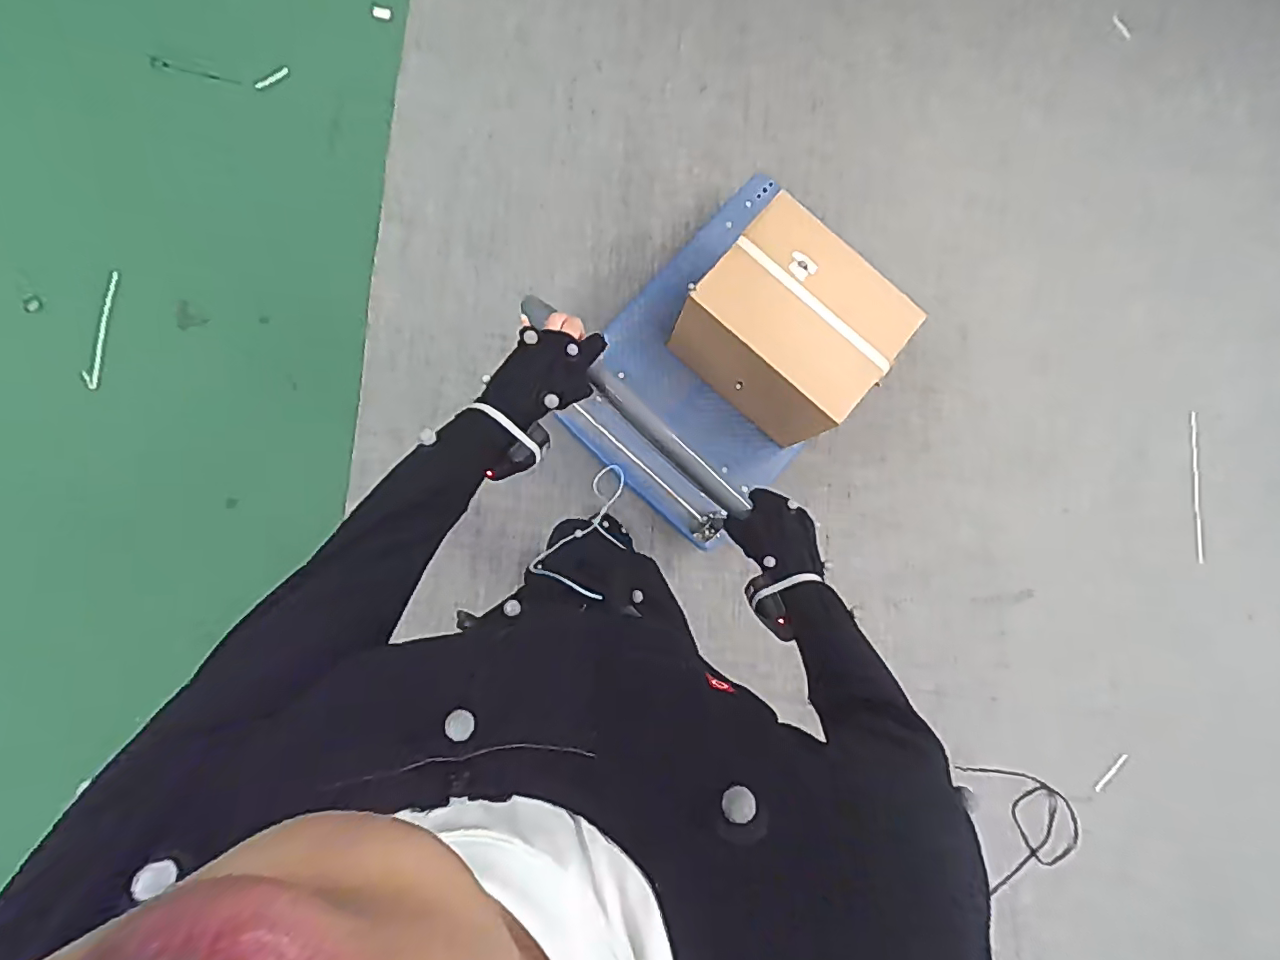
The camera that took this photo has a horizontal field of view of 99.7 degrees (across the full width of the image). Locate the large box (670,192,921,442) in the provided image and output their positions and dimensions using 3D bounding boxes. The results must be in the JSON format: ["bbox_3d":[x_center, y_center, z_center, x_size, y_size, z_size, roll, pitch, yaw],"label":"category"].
[{"bbox_3d":[0.329,-0.346,1.251,0.408,0.320,0.320,41,82,0],"label":"large box"}]
